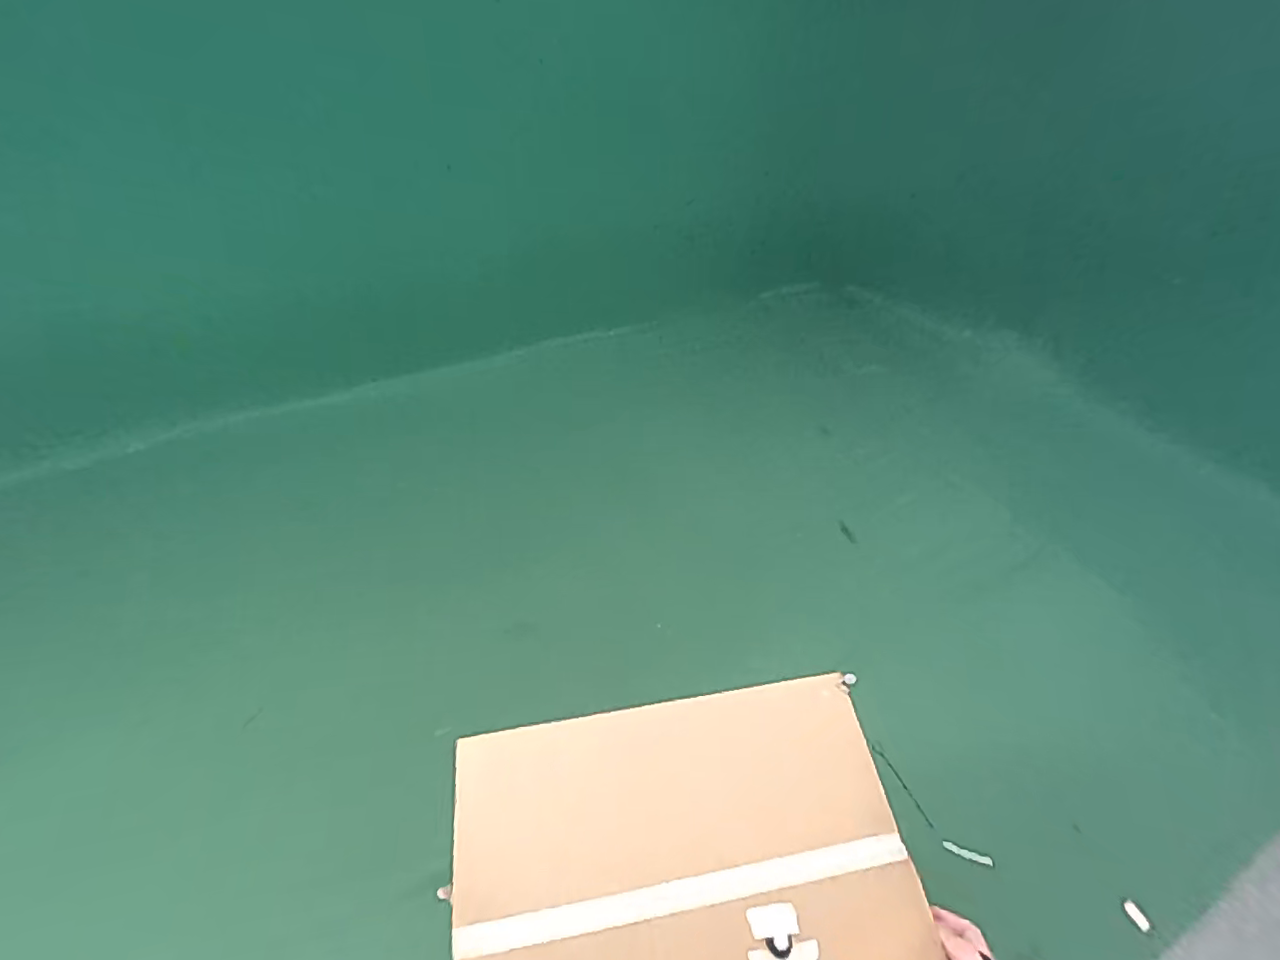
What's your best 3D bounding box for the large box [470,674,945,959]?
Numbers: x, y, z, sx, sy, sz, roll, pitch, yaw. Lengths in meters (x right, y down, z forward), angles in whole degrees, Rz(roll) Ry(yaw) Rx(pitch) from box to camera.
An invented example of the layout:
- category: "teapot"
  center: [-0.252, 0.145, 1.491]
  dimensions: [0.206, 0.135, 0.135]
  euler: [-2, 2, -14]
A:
- category: "large box"
  center: [0.045, 0.446, 0.608]
  dimensions: [0.408, 0.320, 0.320]
  euler: [-7, 58, -7]
